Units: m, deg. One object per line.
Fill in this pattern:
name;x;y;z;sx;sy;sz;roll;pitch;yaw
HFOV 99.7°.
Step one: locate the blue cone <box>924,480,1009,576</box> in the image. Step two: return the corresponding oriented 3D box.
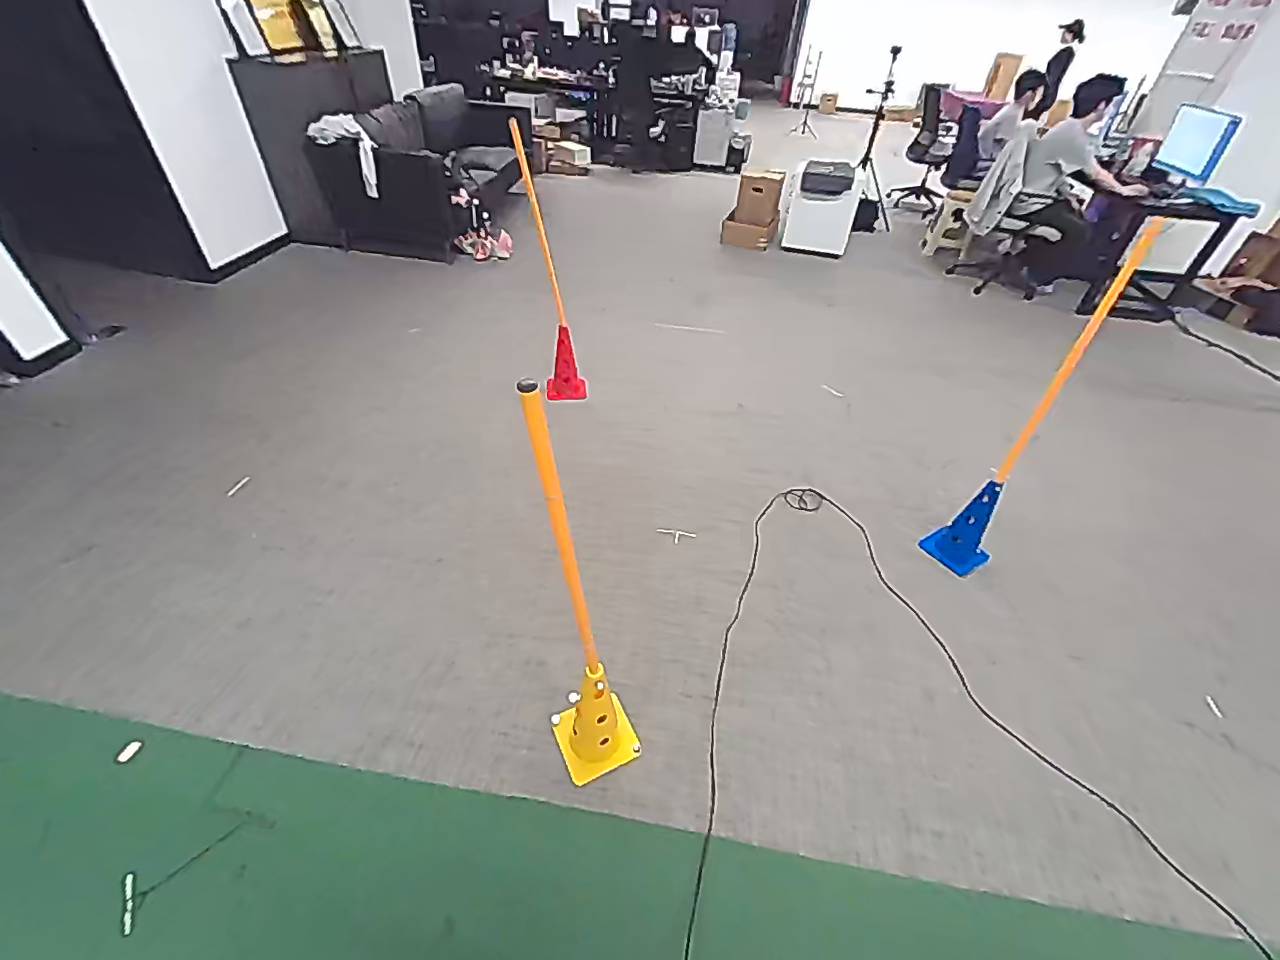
blue cone;1.222;0.148;1.970;0.193;0.380;0.192;-22;47;-29
